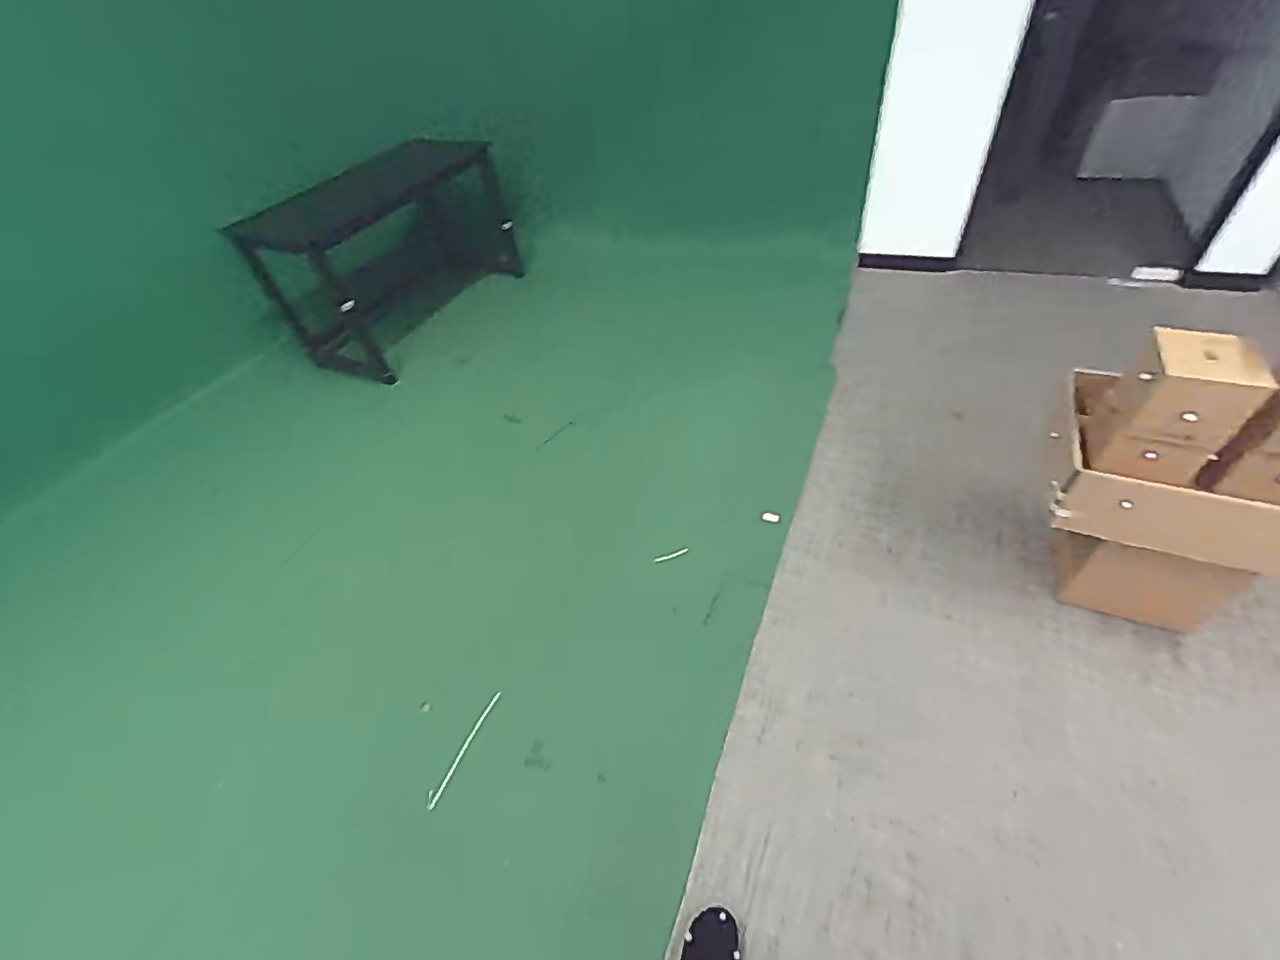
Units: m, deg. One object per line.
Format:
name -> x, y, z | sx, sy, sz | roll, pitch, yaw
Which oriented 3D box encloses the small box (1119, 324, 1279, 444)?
small box -> 1.150, -0.199, 1.131 | 0.168, 0.176, 0.179 | 14, 52, 21
